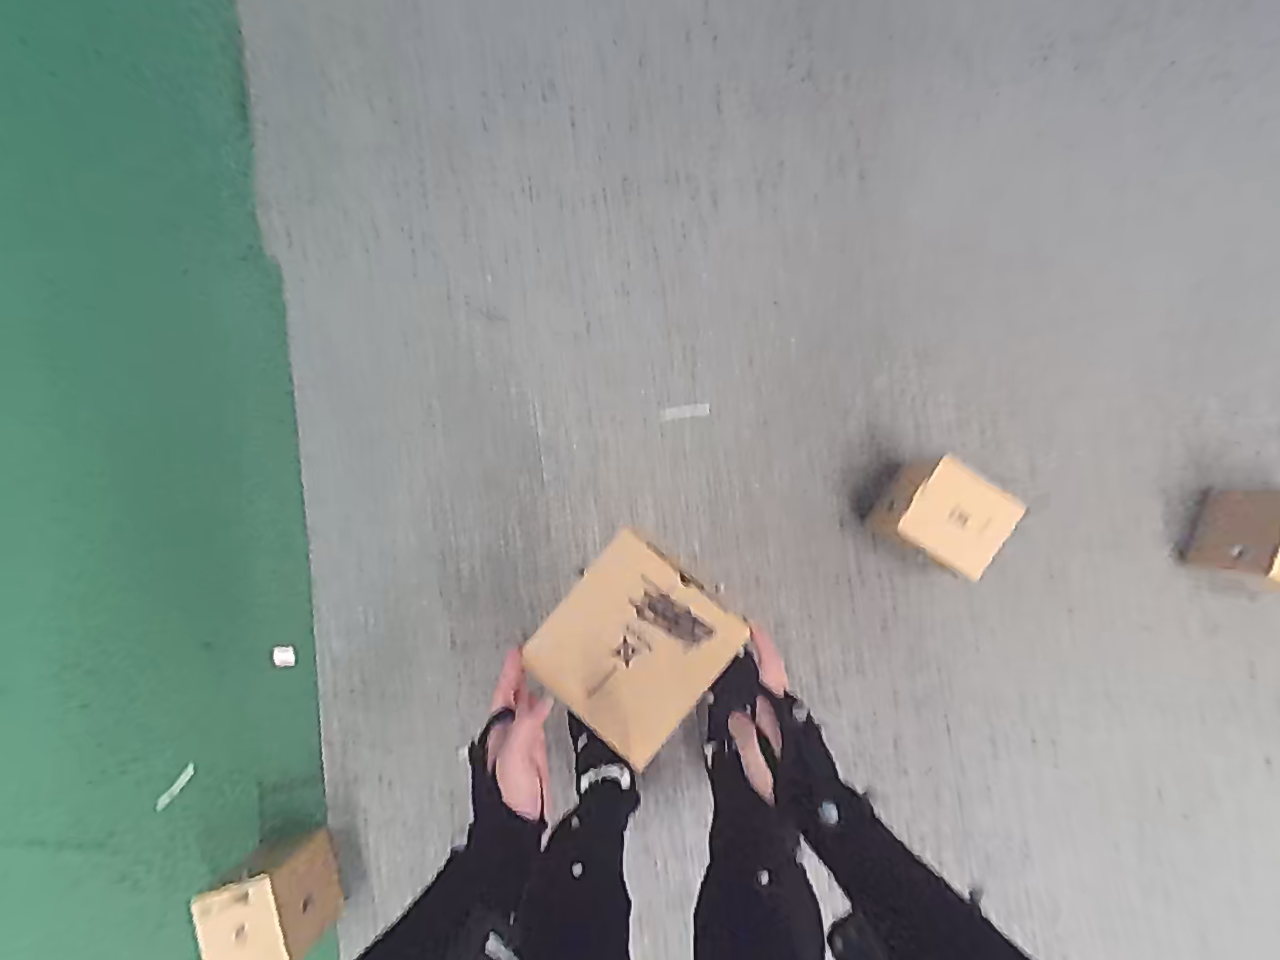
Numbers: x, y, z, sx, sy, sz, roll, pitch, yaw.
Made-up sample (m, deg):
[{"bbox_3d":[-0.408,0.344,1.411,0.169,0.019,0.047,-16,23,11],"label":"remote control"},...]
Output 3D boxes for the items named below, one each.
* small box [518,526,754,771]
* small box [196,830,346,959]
[{"bbox_3d":[-0.002,0.168,0.602,0.168,0.176,0.179,40,88,7],"label":"small box"},{"bbox_3d":[-0.730,0.857,1.090,0.168,0.176,0.179,-18,86,2],"label":"small box"}]
